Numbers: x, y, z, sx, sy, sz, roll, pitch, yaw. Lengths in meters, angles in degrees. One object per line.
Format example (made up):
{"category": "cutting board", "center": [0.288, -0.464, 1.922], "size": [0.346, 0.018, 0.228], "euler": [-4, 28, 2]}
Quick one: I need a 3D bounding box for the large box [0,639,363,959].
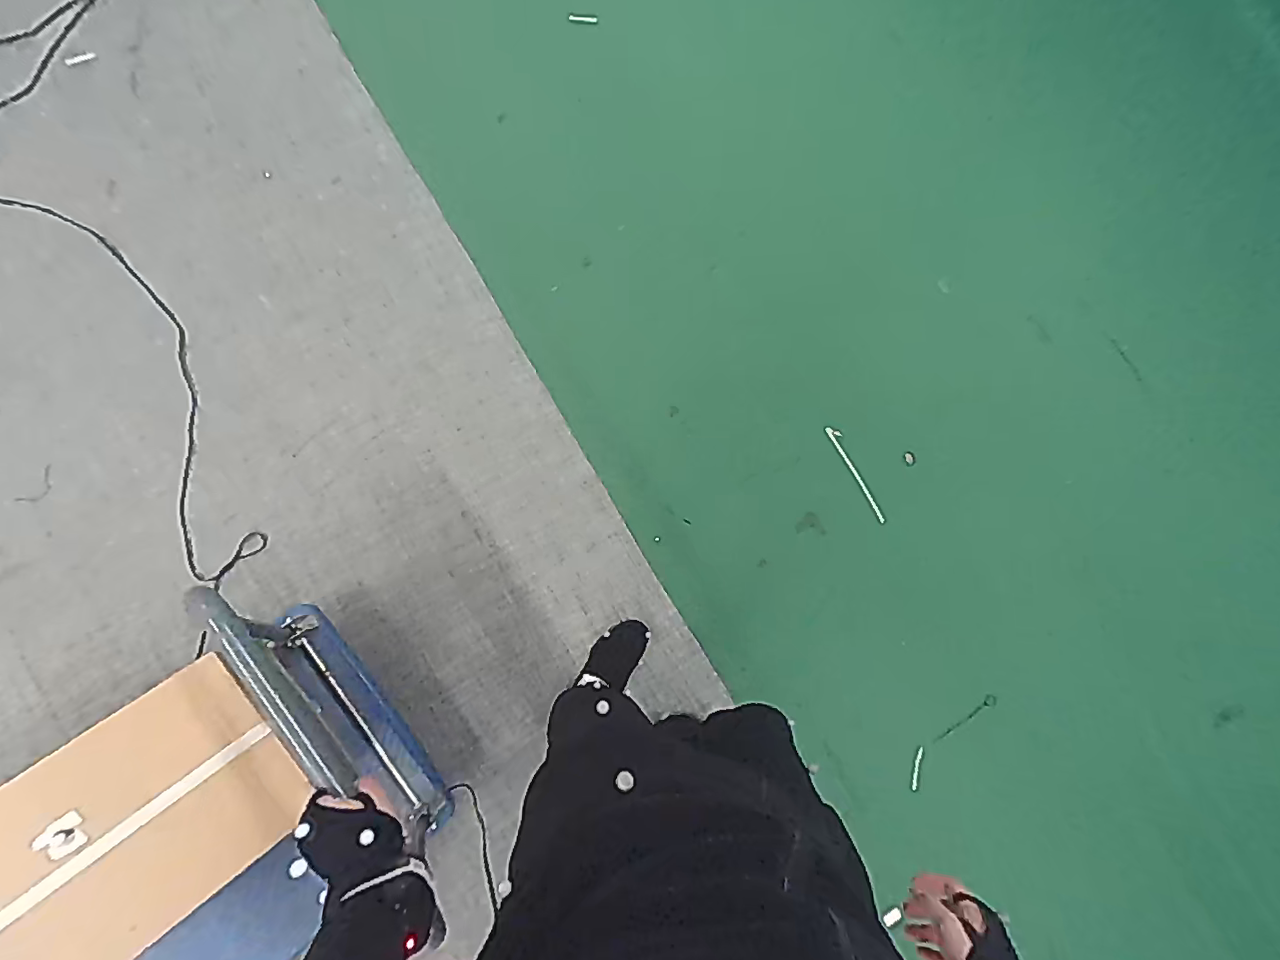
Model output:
{"category": "large box", "center": [-0.778, 0.534, 0.942], "size": [0.408, 0.320, 0.320], "euler": [-38, 89, -22]}
